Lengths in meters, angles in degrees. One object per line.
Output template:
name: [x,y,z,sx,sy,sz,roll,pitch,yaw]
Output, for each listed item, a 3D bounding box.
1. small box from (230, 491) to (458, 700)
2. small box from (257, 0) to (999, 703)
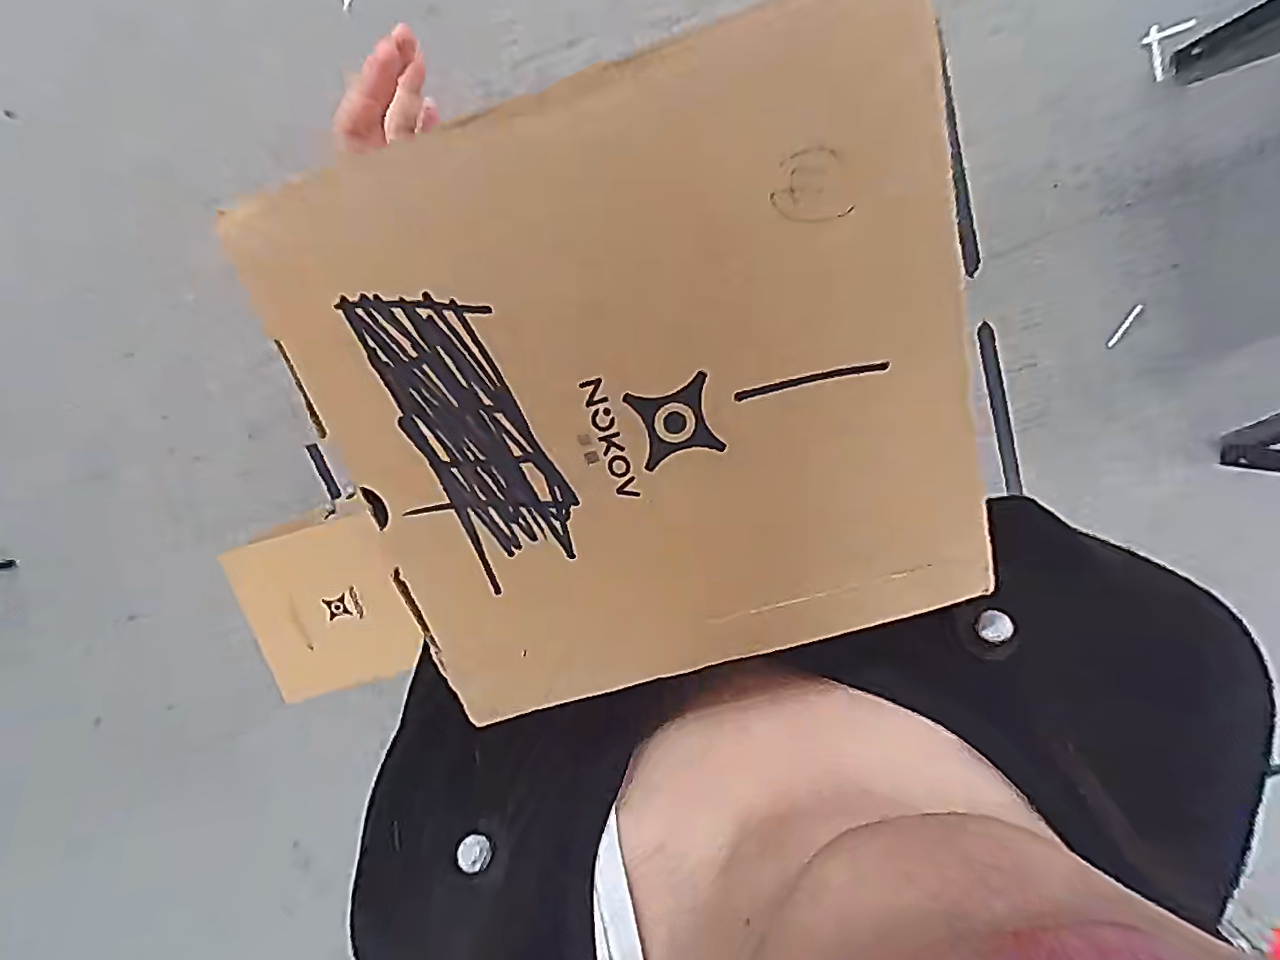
small box: [-0.286,0.104,0.600,0.179,0.176,0.168,-17,101,-1]
small box: [0.008,-0.045,0.227,0.179,0.176,0.168,-16,109,6]
